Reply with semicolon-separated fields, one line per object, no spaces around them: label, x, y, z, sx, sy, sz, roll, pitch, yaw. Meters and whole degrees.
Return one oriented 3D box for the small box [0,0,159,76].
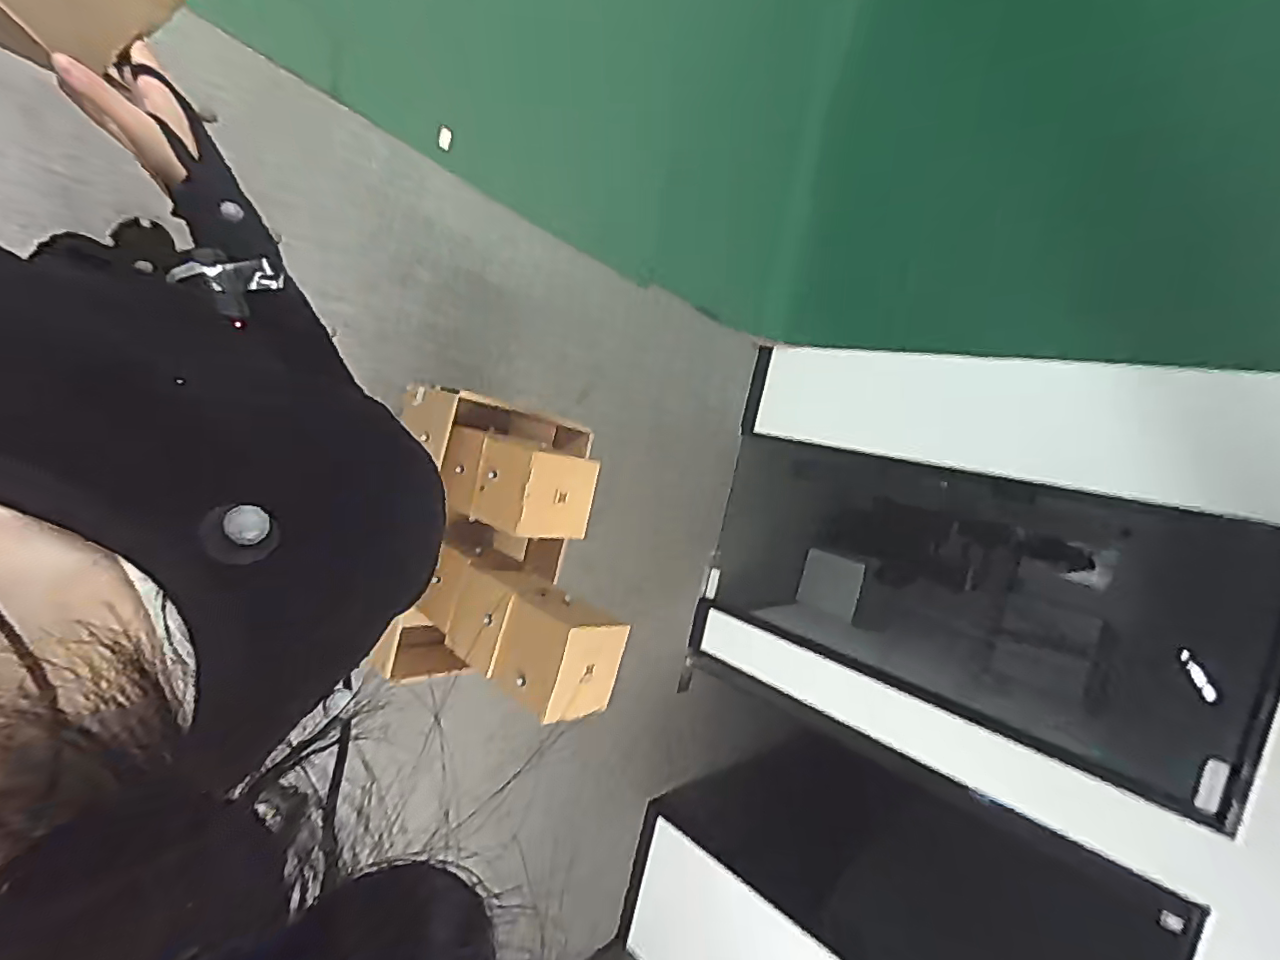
small box;-0.436;-0.412;0.334;0.168;0.176;0.179;-61;167;-11

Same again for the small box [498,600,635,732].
small box;-0.143;0.342;1.021;0.168;0.176;0.179;18;88;-49

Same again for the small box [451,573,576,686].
small box;-0.265;0.302;1.122;0.168;0.176;0.179;18;89;-48
